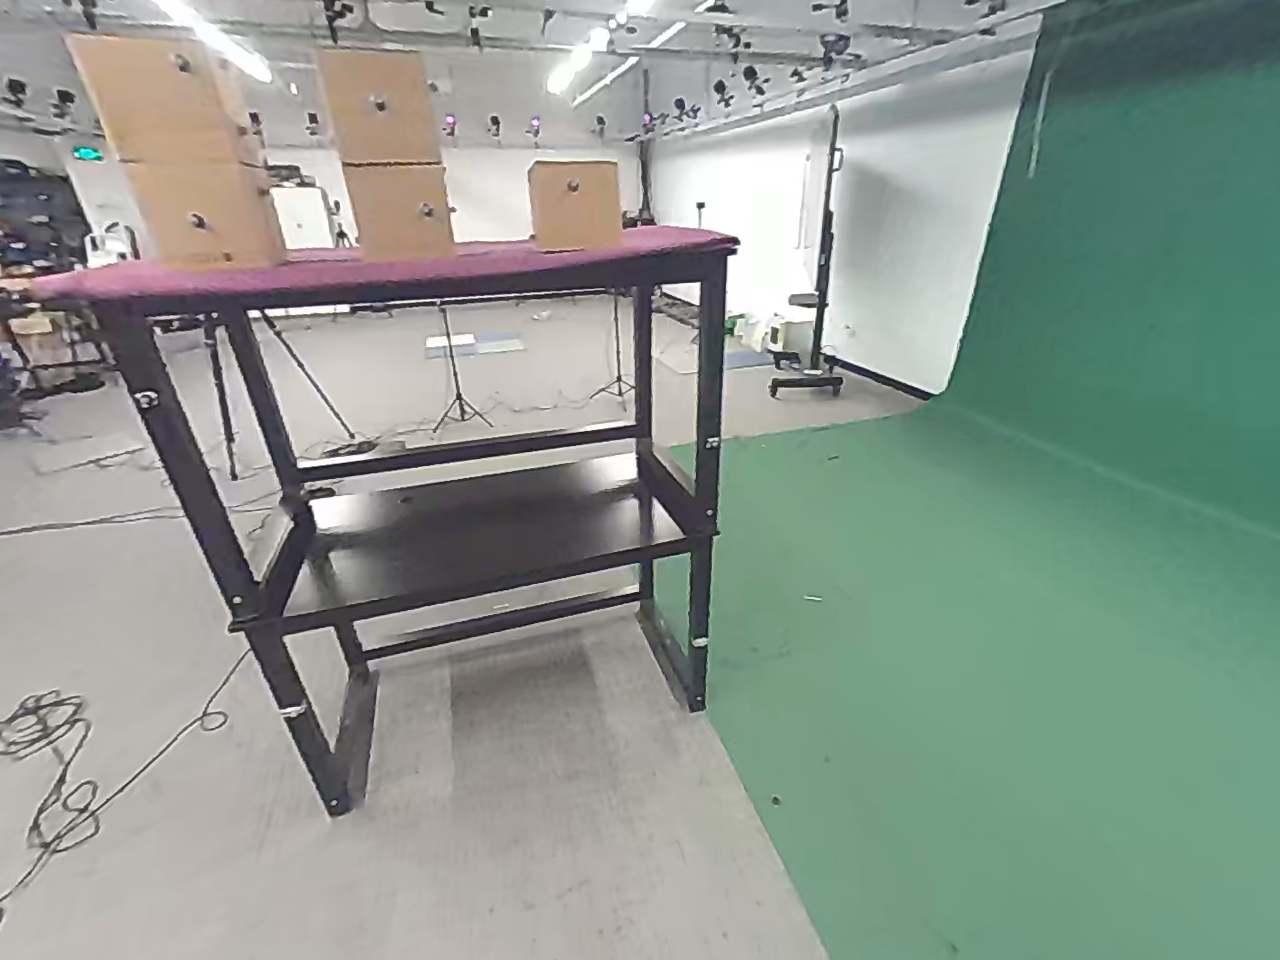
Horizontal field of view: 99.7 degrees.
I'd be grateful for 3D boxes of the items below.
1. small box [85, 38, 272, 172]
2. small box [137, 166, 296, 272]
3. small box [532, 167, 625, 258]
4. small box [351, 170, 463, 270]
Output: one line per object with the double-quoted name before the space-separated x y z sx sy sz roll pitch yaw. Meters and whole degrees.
"small box" -0.770 -0.624 0.928 0.179 0.176 0.168 -10 29 -19
"small box" -0.765 -0.480 1.003 0.168 0.176 0.179 -8 27 -17
"small box" -0.138 -0.592 1.212 0.179 0.176 0.168 -8 25 -14
"small box" -0.462 -0.527 1.099 0.179 0.176 0.168 -10 27 -16
